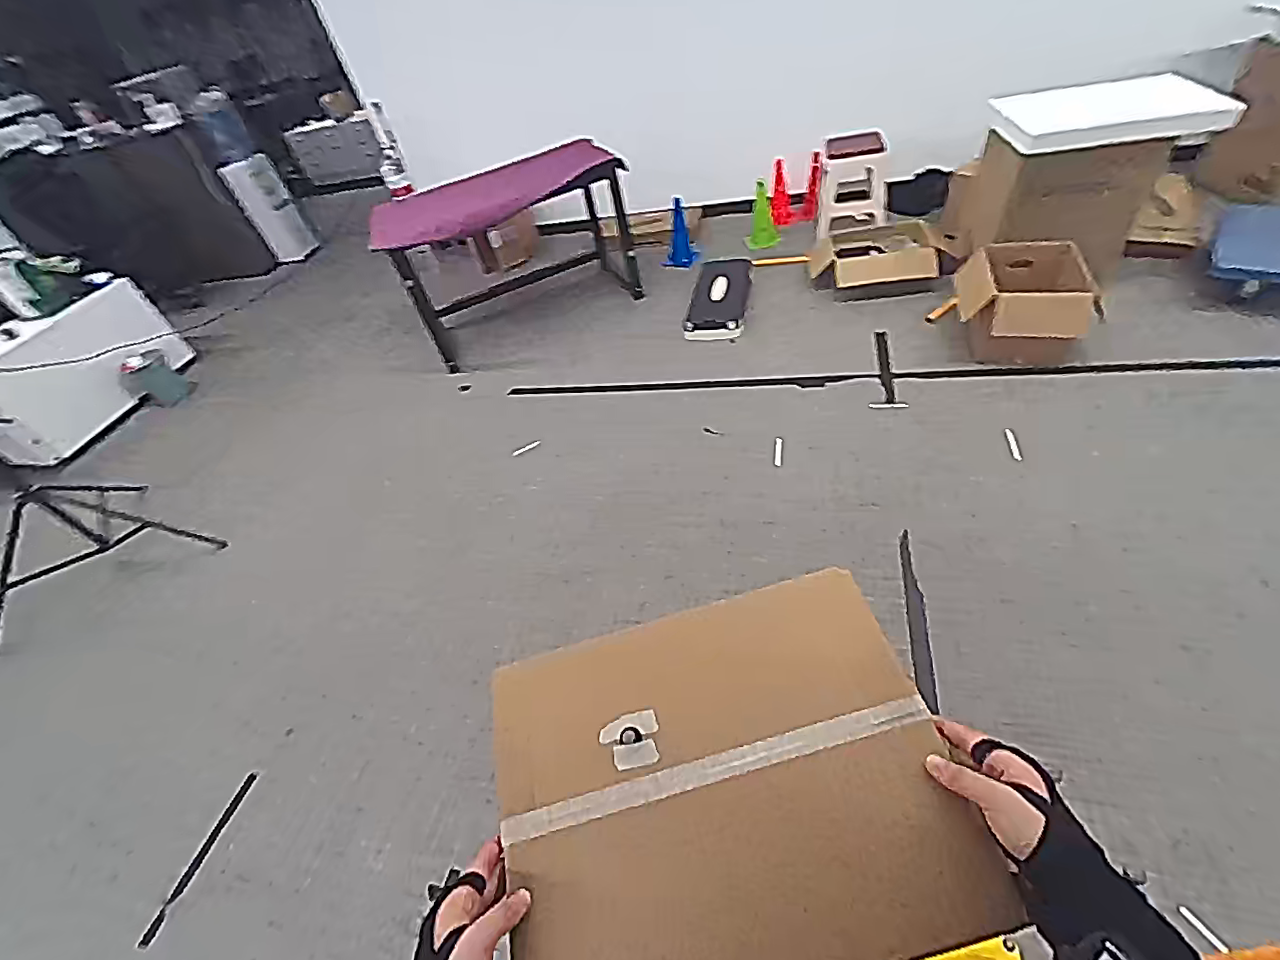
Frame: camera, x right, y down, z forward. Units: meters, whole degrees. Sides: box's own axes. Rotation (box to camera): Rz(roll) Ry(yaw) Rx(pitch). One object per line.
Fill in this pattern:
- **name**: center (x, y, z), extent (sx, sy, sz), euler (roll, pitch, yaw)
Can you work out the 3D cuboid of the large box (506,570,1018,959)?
- **large box**: center (0.103, 0.358, 0.627), extent (0.408, 0.320, 0.320), euler (-17, 51, 1)
